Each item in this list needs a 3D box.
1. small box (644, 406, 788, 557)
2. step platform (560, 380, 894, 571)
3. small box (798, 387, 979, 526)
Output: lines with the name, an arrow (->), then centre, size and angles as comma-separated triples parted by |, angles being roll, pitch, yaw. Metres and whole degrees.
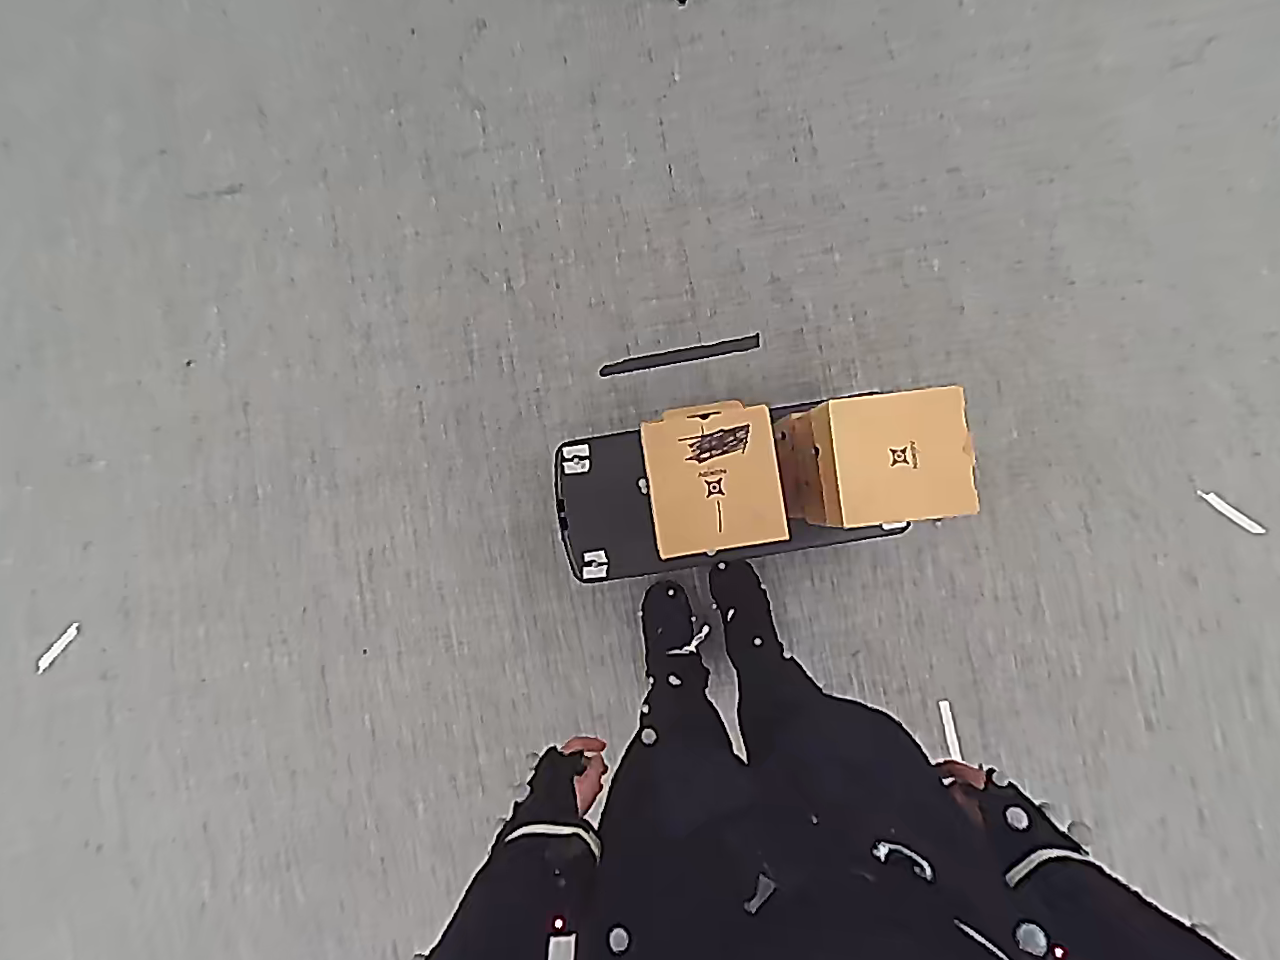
small box -> 0.096, 0.006, 0.763 | 0.168, 0.176, 0.179 | -8, 88, 1
step platform -> 0.184, -0.006, 1.100 | 0.684, 0.204, 0.286 | -10, 87, 1
small box -> 0.332, -0.024, 0.762 | 0.179, 0.176, 0.168 | -7, 87, 0
